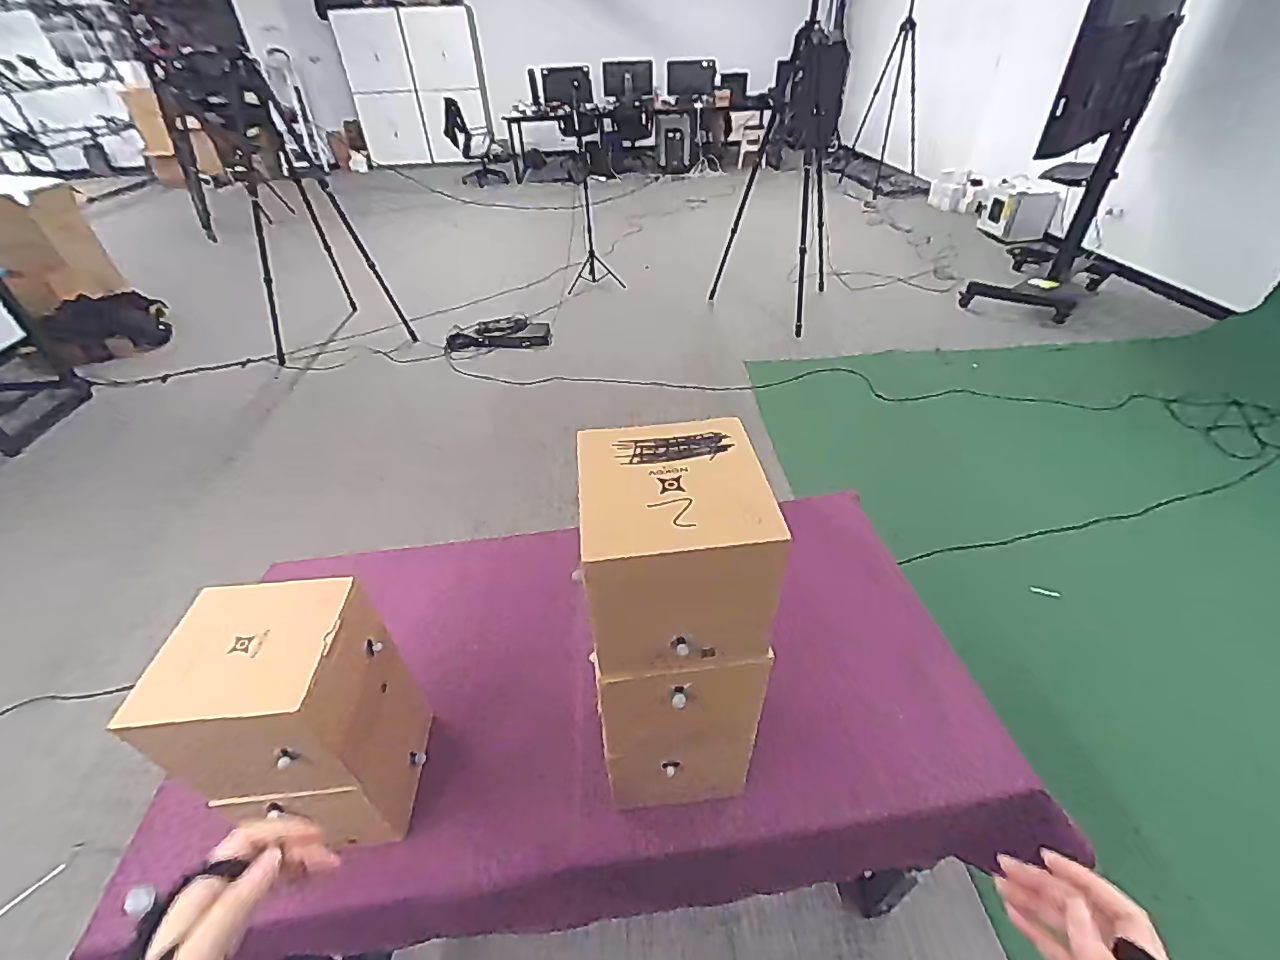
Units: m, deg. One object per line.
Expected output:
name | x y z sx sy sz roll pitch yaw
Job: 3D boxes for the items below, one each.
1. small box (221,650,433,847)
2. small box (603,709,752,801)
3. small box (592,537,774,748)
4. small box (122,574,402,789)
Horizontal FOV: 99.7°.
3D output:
small box | -0.391 0.354 0.719 0.168 0.176 0.179 -5 39 -2
small box | 0.043 0.315 0.738 0.179 0.176 0.168 -5 40 -3
small box | 0.041 0.190 0.633 0.179 0.176 0.168 -7 41 -3
small box | -0.396 0.228 0.614 0.179 0.176 0.168 -4 40 -1
